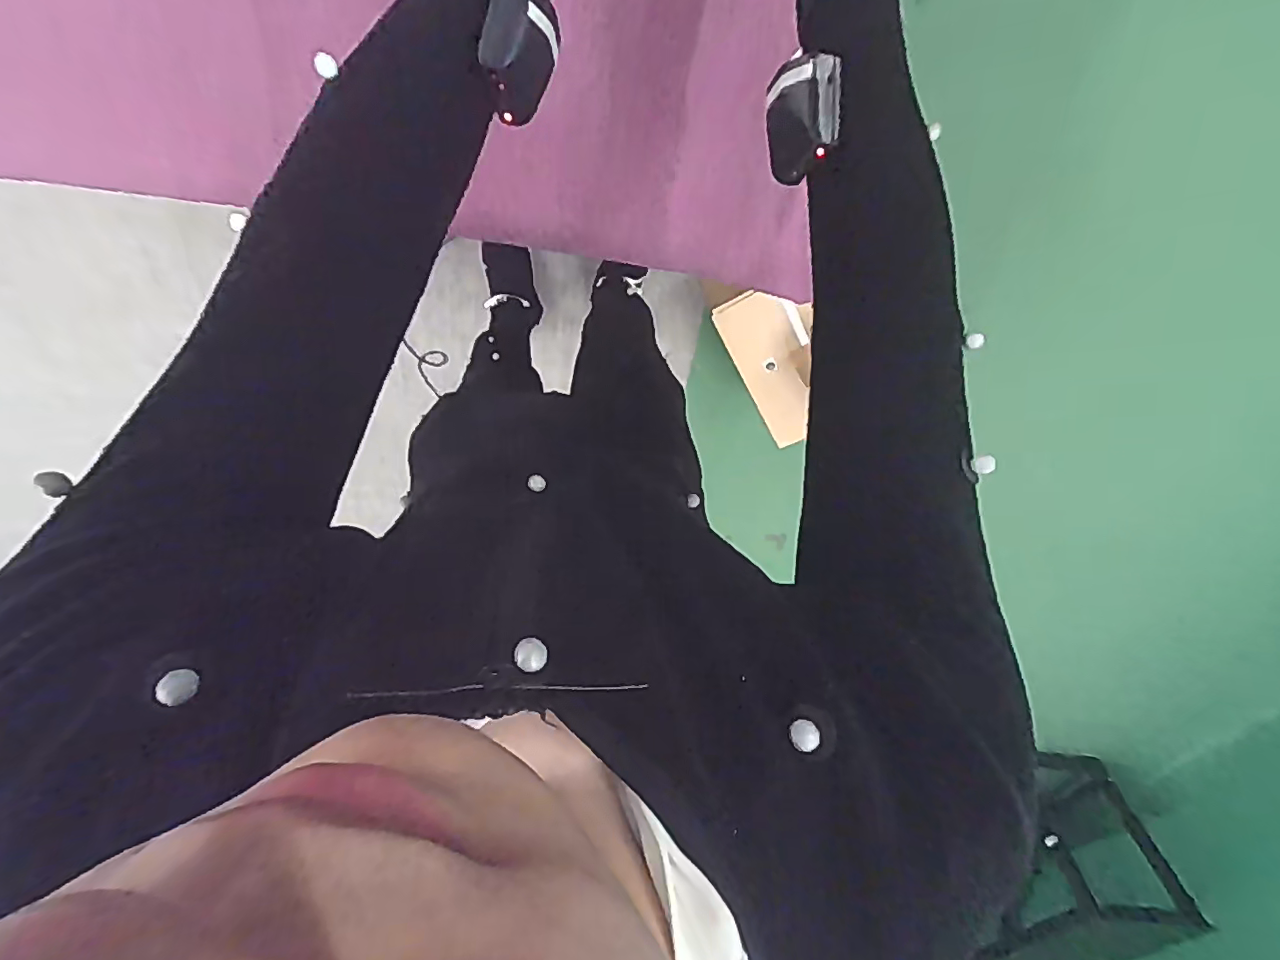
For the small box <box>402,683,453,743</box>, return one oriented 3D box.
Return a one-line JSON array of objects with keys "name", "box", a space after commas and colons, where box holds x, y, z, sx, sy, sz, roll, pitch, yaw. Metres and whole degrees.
[{"name": "small box", "box": [-0.945, 1.041, 2.414, 0.168, 0.176, 0.179, 13, 124, -5]}]
